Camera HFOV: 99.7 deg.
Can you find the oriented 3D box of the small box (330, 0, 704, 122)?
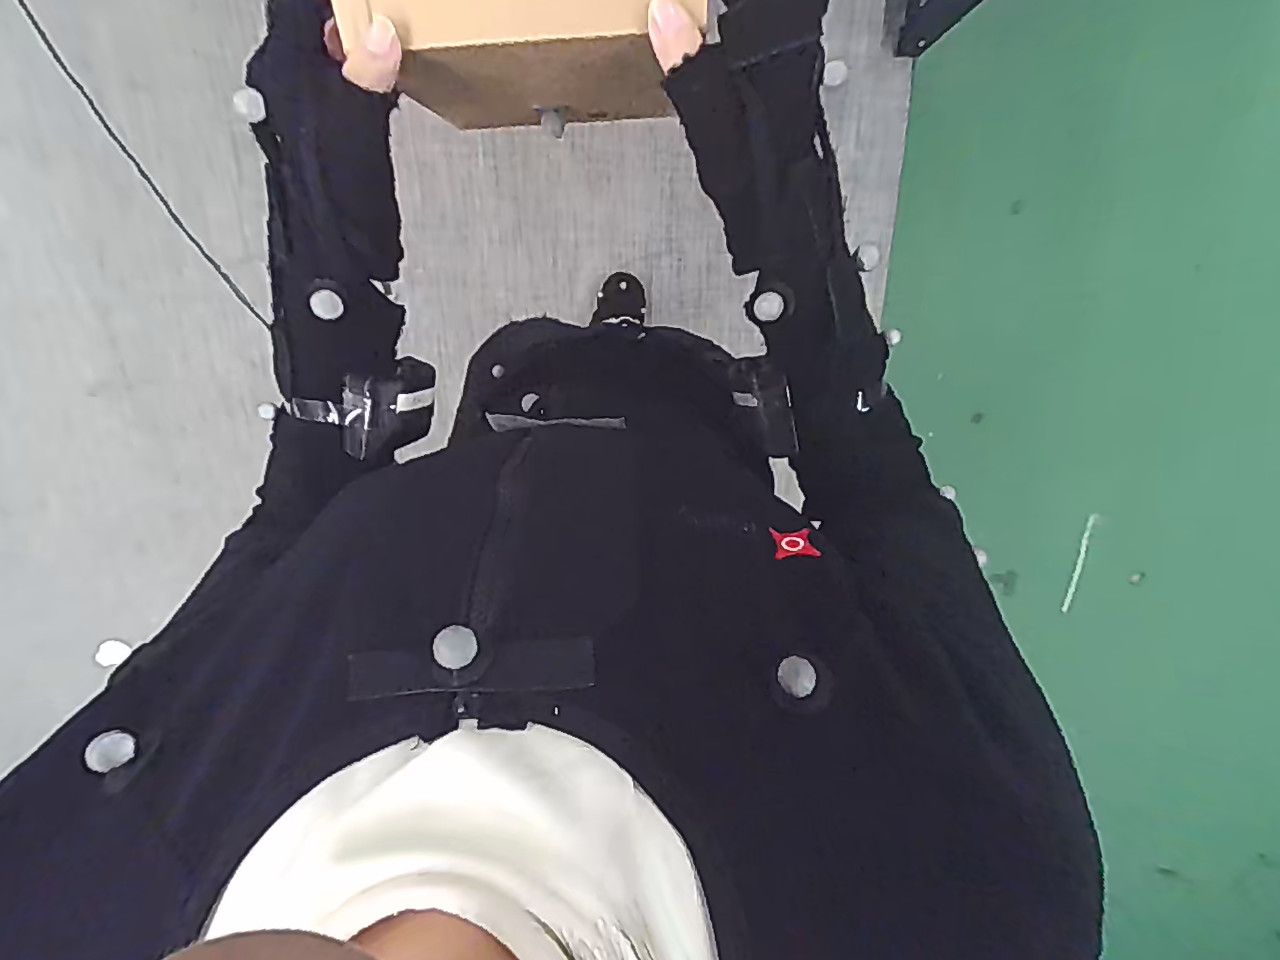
[{"bbox_3d":[-0.056,-0.311,0.280,0.168,0.176,0.179,-2,113,2],"label":"small box"}]
